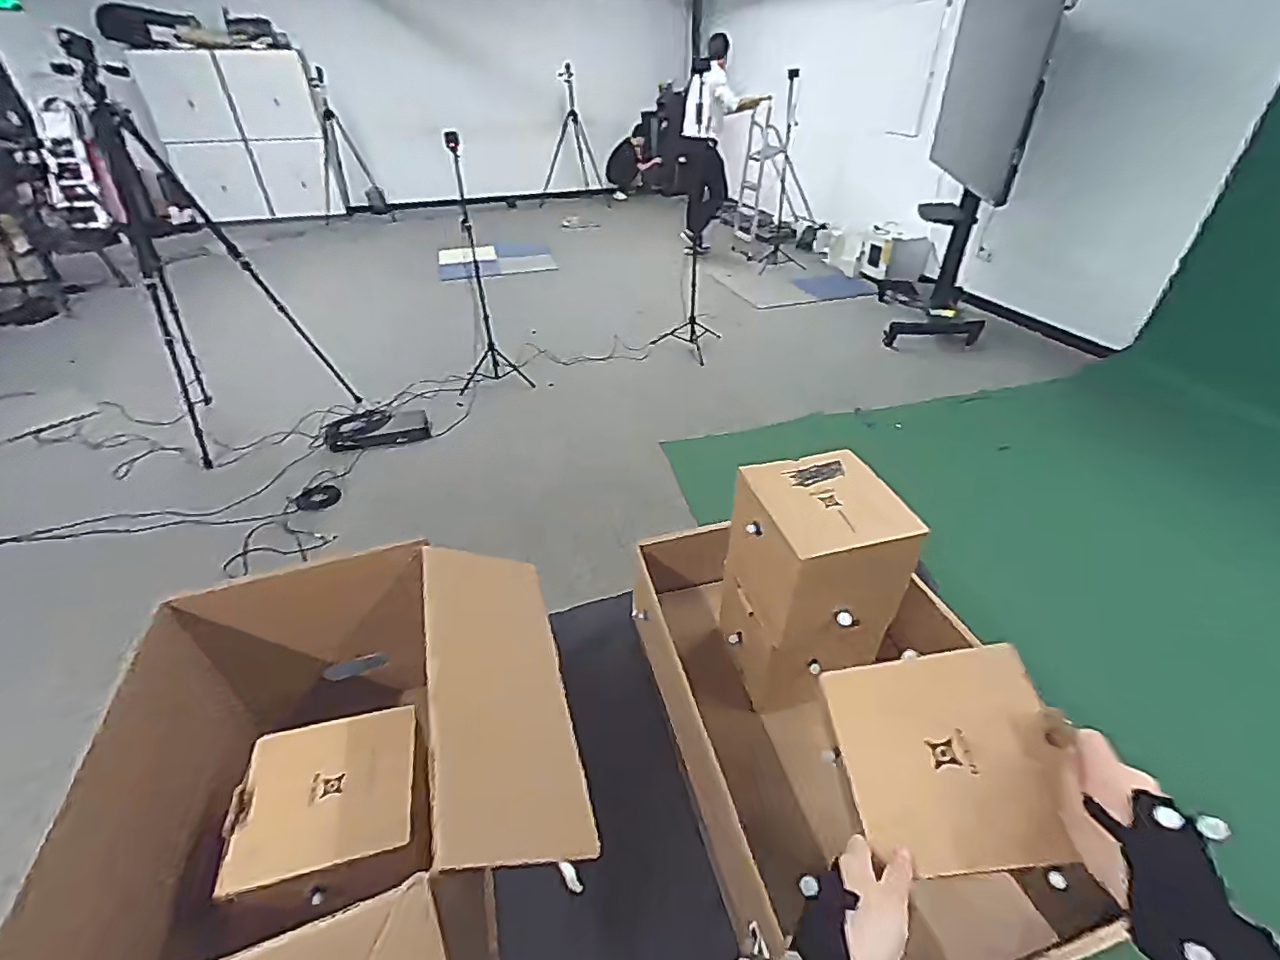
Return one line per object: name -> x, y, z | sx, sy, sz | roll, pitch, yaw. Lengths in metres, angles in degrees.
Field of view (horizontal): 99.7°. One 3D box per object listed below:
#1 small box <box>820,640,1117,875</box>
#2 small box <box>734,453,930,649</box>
small box -> 0.282, 0.271, 0.517 | 0.179, 0.176, 0.168 | -13, 54, 9
small box -> 0.234, 0.090, 0.714 | 0.168, 0.176, 0.179 | -10, 39, -11
